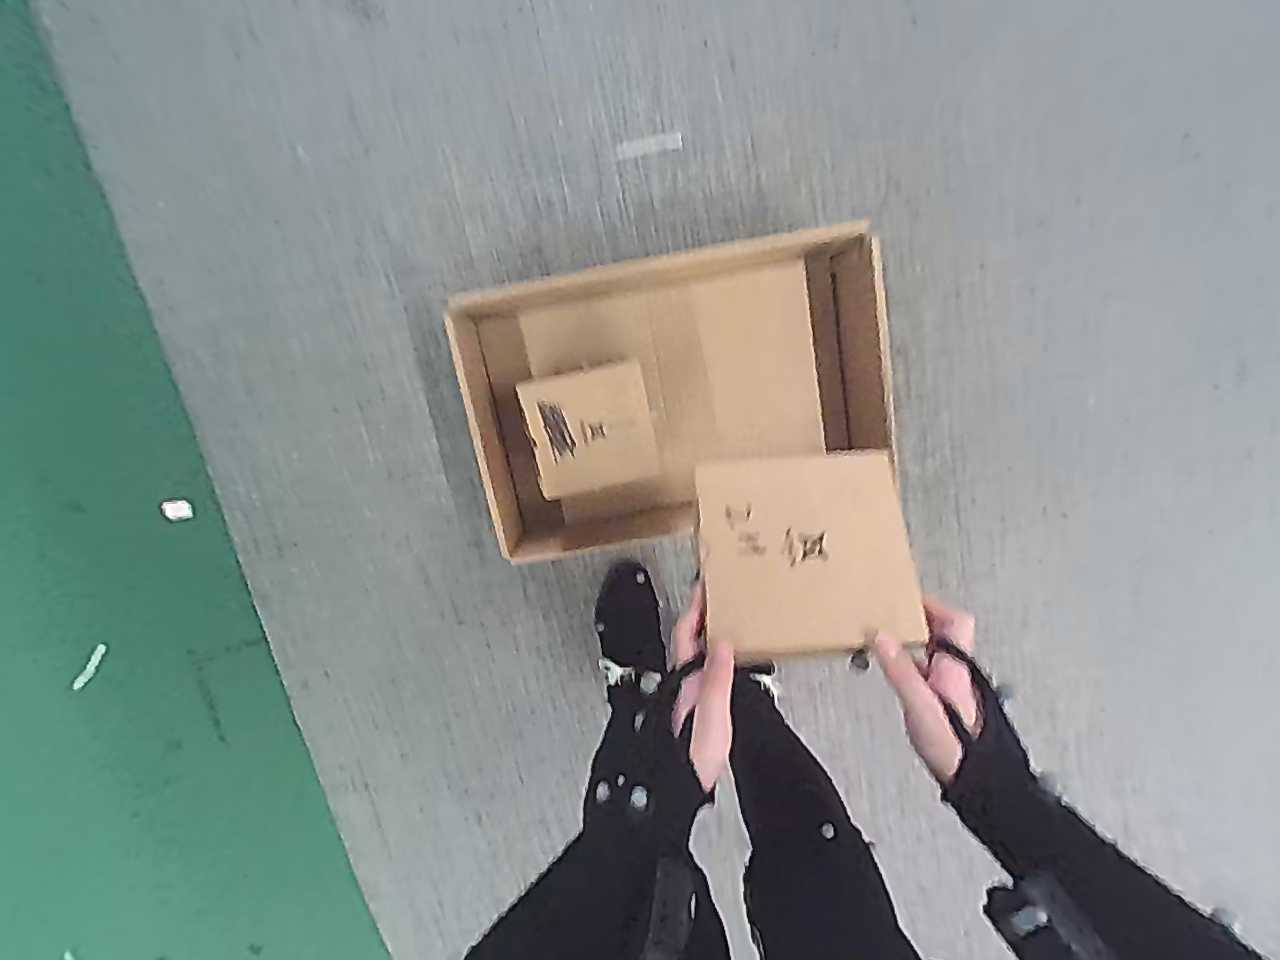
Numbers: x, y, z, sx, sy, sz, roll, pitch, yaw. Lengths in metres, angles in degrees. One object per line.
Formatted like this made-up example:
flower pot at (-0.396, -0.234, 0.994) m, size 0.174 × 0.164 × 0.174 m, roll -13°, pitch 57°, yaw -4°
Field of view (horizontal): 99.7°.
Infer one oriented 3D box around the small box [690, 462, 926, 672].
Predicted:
small box at (0.141, 0.094, 0.526) m, size 0.179 × 0.176 × 0.168 m, roll -5°, pitch 67°, yaw 5°
